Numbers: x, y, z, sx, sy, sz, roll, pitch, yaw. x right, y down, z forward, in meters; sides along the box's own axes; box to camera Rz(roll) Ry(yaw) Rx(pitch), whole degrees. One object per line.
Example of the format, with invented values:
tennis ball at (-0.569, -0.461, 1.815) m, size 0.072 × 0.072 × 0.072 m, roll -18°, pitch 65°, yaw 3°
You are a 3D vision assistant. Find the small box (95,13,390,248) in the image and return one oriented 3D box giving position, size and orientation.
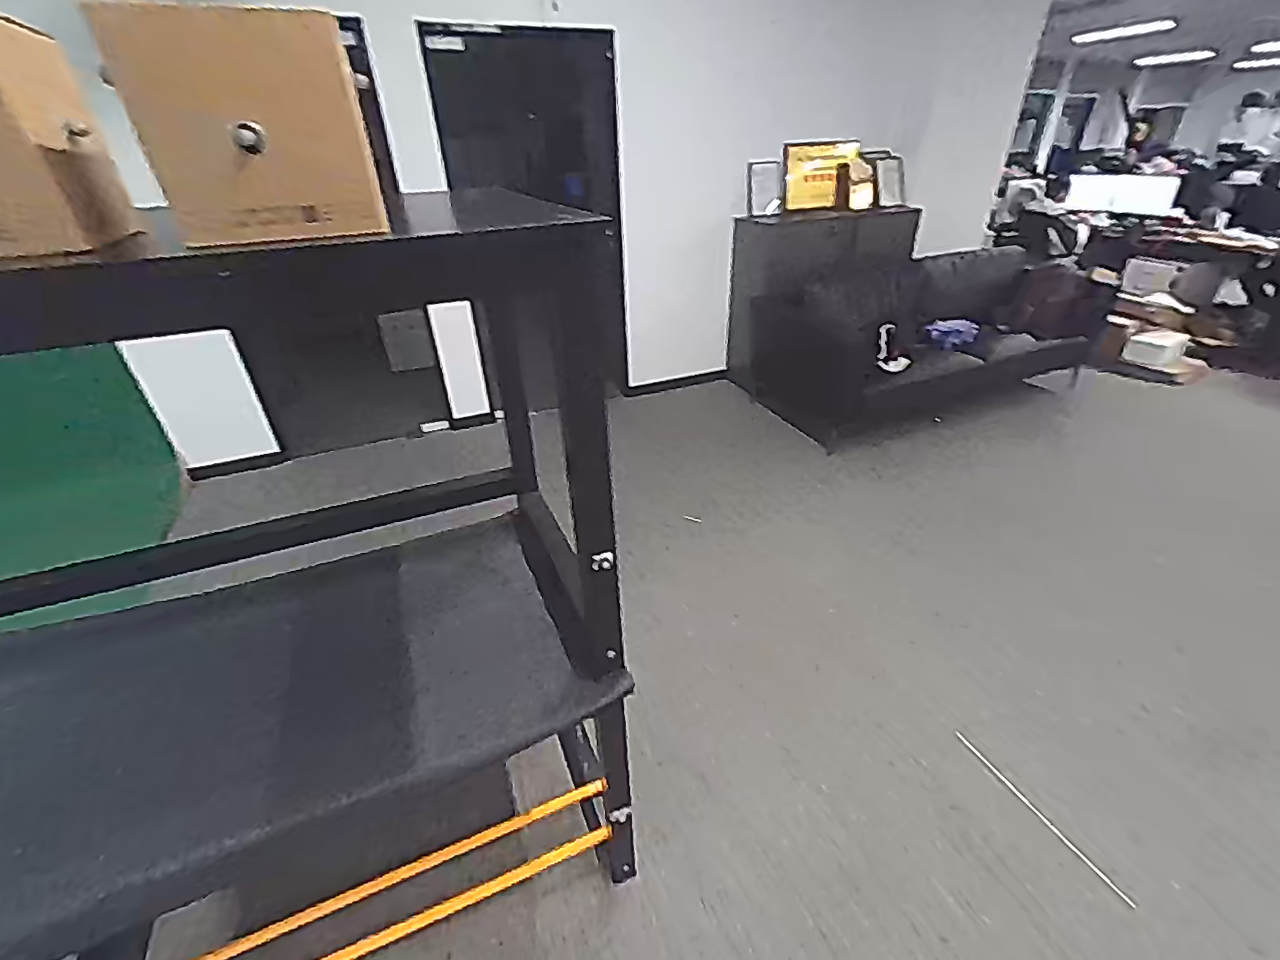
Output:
small box at (-0.351, -0.326, 0.525) m, size 0.168 × 0.176 × 0.179 m, roll -13°, pitch 33°, yaw -18°
